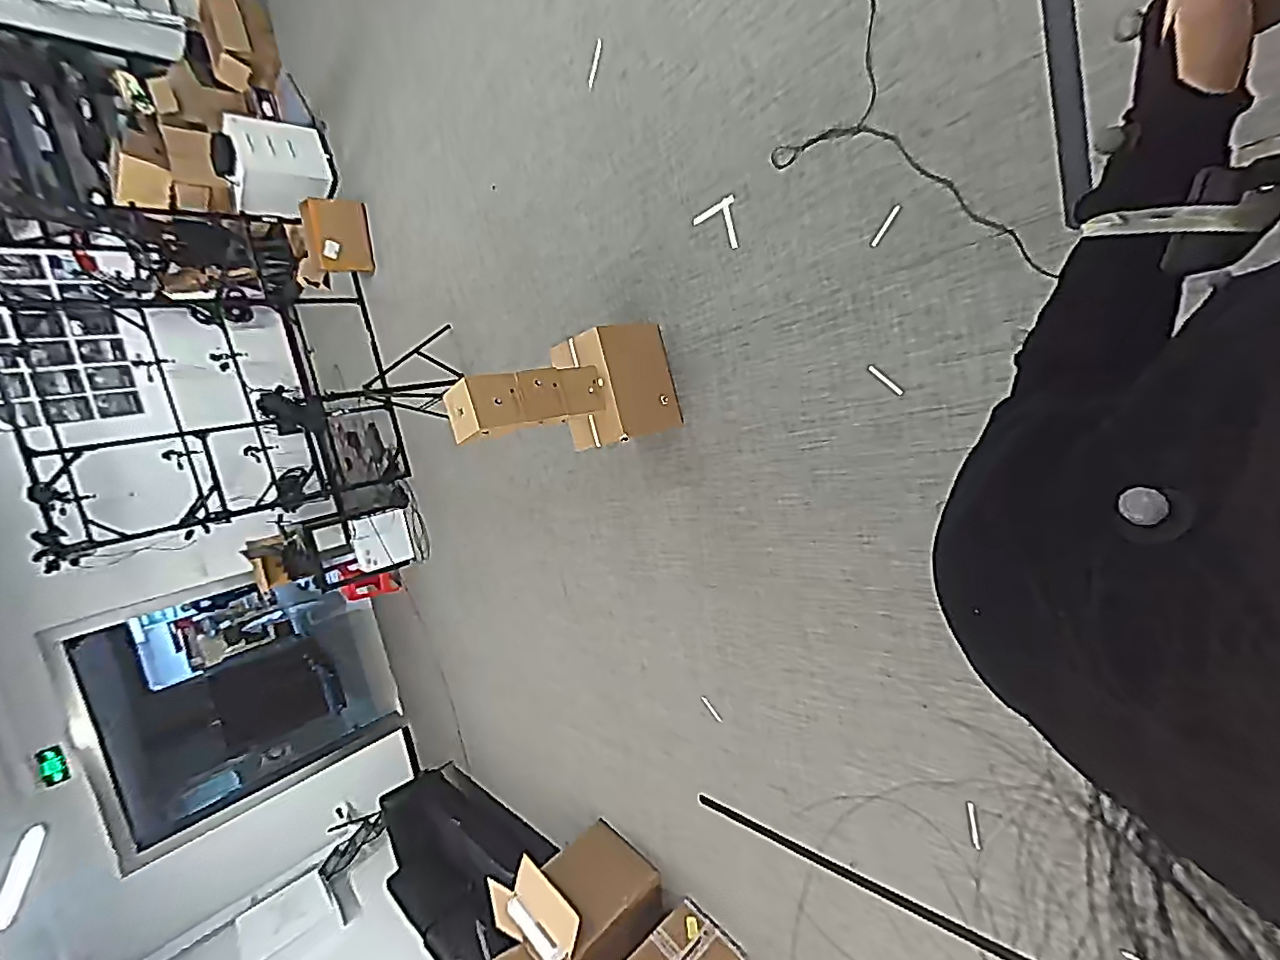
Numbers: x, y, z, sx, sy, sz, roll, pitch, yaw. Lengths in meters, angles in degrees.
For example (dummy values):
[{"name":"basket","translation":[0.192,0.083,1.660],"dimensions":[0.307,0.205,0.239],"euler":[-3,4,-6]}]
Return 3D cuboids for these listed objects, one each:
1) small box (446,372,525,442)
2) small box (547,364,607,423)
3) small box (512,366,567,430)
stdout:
[{"name":"small box","translation":[-0.480,-0.231,1.702],"dimensions":[0.179,0.176,0.168],"euler":[-18,89,49]},{"name":"small box","translation":[-0.246,-0.307,1.917],"dimensions":[0.179,0.176,0.168],"euler":[-10,97,48]},{"name":"small box","translation":[-0.360,-0.274,1.807],"dimensions":[0.179,0.176,0.168],"euler":[-12,94,50]}]
